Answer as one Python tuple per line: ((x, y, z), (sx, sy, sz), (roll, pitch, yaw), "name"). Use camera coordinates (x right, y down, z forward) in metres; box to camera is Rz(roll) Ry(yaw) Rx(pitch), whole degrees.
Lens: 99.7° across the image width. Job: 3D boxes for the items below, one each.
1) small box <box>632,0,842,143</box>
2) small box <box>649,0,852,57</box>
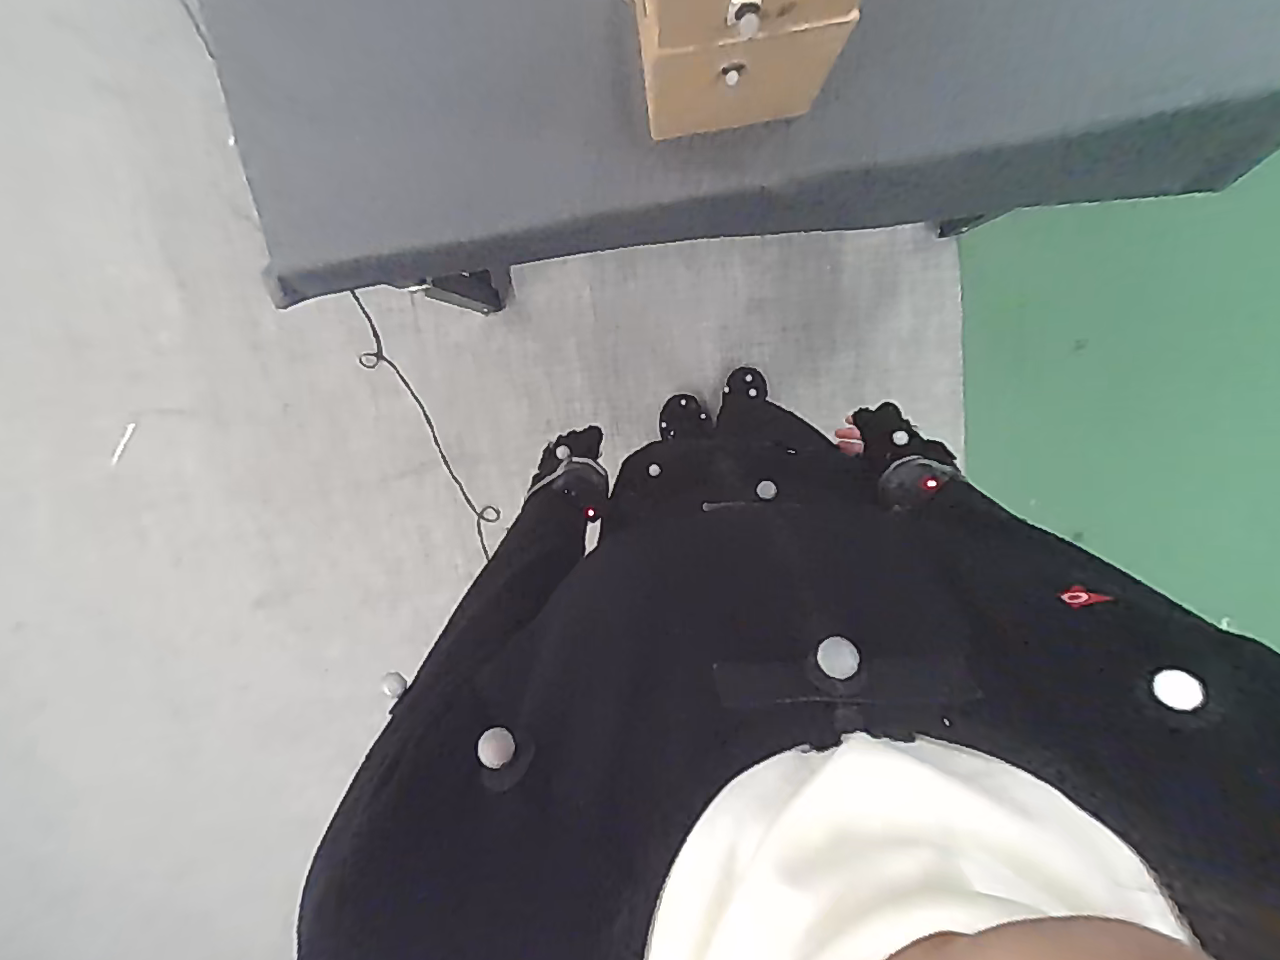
((0.082, -0.465, 0.537), (0.179, 0.176, 0.168), (-8, 101, 3), "small box")
((0.076, -0.438, 0.361), (0.168, 0.176, 0.179), (-9, 101, 5), "small box")
